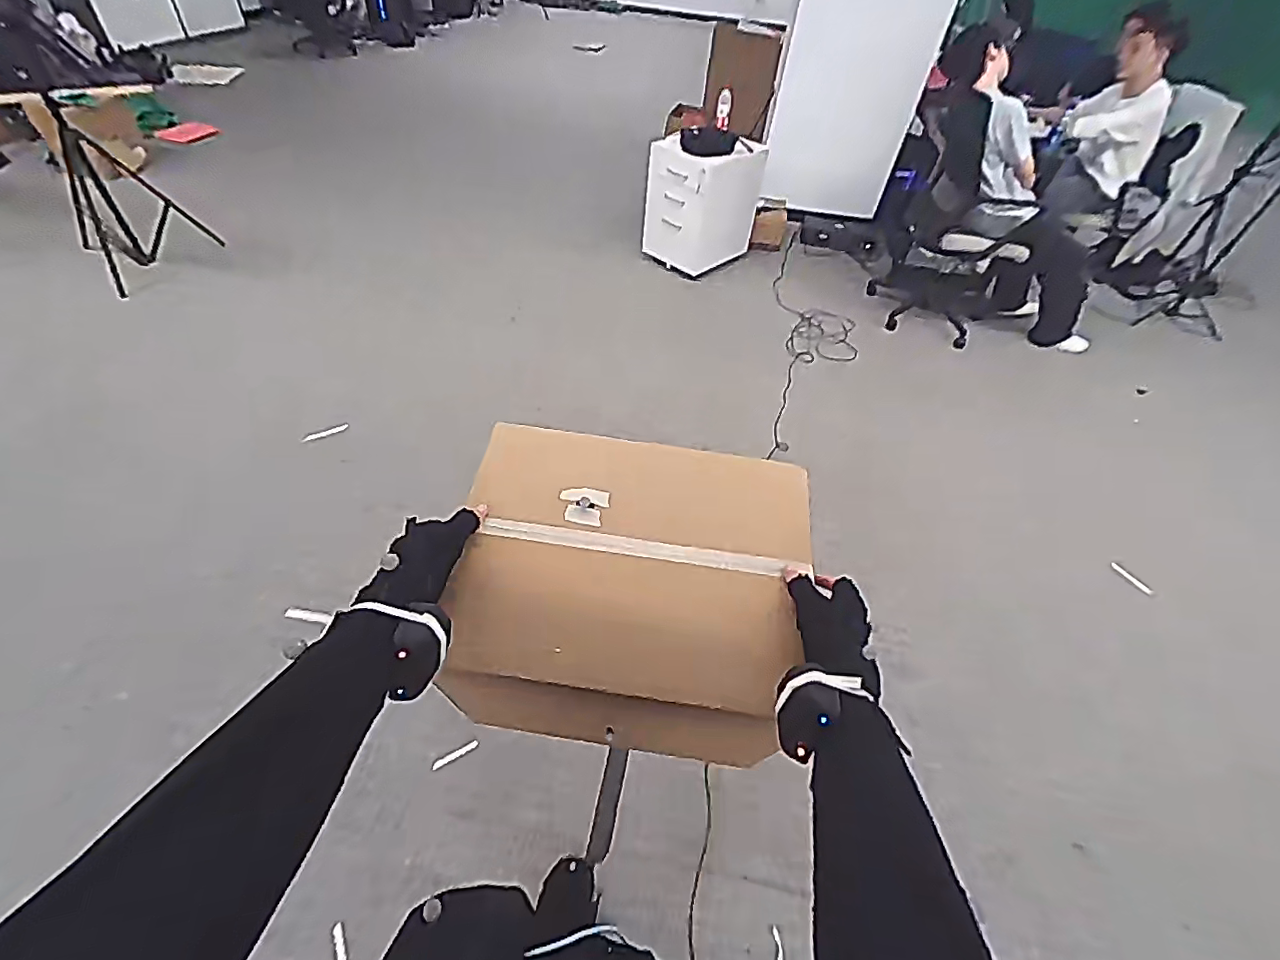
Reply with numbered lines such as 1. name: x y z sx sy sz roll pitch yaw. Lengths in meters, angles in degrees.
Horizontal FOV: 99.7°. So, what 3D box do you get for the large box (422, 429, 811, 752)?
1. large box: -0.013 0.165 0.748 0.408 0.320 0.320 8 55 2
